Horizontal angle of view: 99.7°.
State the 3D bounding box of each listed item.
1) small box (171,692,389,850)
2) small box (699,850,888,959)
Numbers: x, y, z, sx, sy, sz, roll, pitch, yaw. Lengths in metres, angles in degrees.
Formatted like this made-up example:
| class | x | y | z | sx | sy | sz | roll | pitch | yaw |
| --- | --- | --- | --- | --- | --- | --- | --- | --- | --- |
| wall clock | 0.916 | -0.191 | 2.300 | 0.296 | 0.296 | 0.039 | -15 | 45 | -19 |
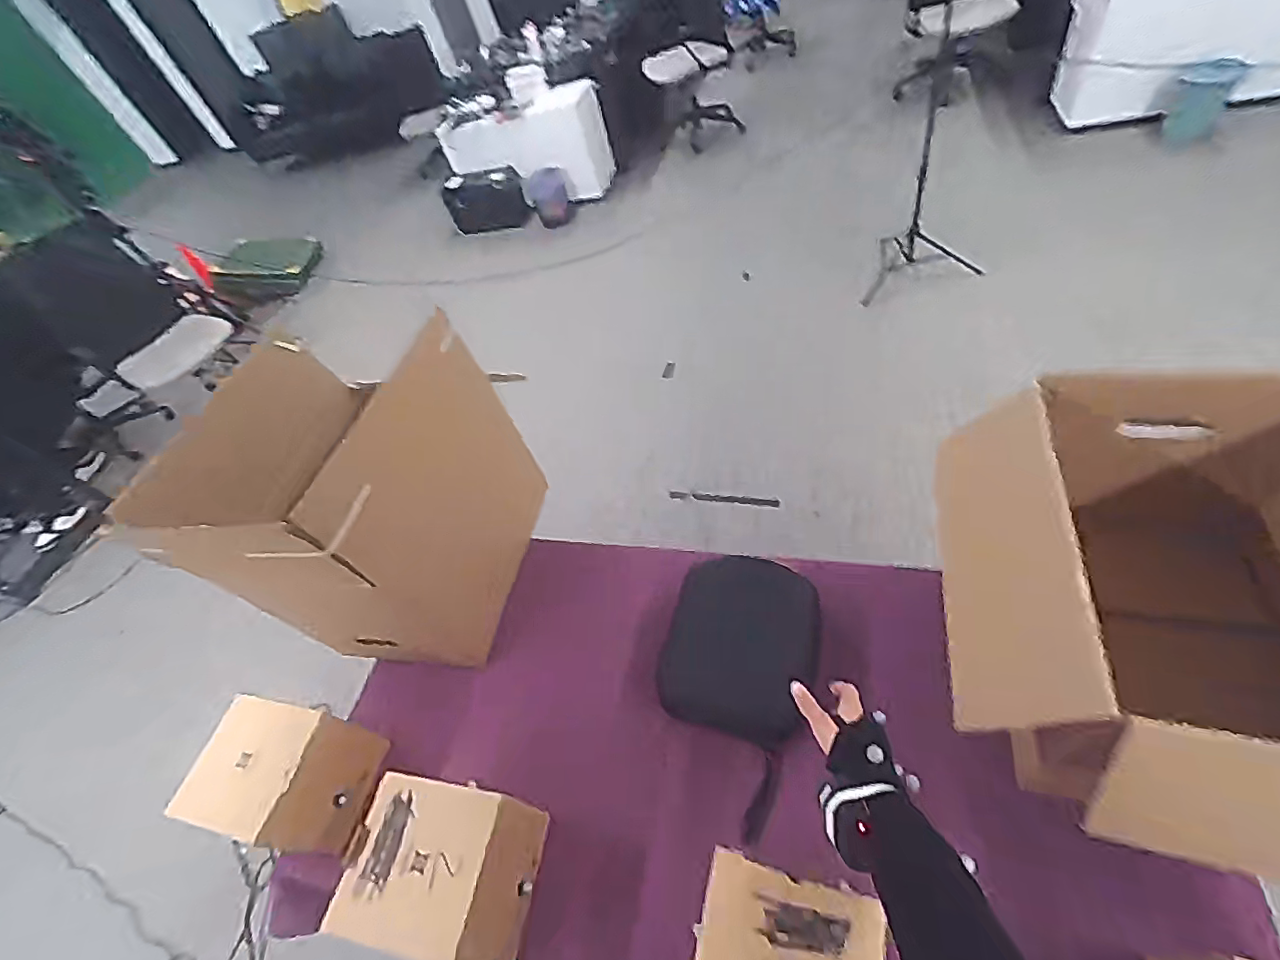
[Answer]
| class | x | y | z | sx | sy | sz | roll | pitch | yaw |
| --- | --- | --- | --- | --- | --- | --- | --- | --- | --- |
| small box | -0.530 | 0.445 | 0.823 | 0.179 | 0.176 | 0.168 | 2 | 53 | 18 |
| small box | 0.151 | 0.512 | 0.550 | 0.168 | 0.176 | 0.179 | 5 | 54 | 22 |
